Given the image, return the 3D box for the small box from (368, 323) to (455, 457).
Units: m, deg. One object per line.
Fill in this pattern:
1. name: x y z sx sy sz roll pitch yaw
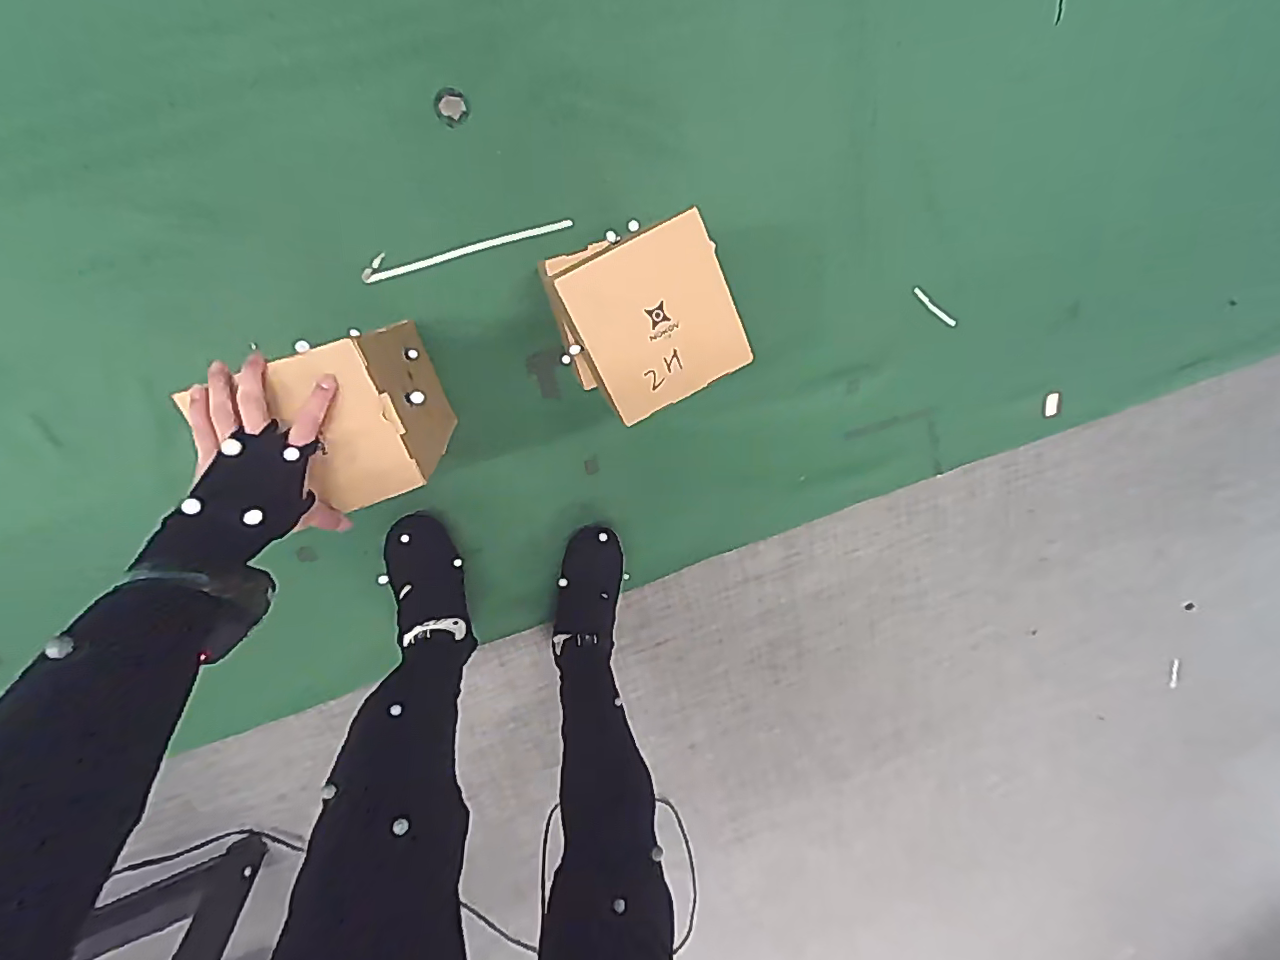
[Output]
1. small box: -0.382 -0.113 0.774 0.168 0.176 0.179 -21 111 -4

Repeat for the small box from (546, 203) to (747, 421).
1. small box: -0.002 -0.198 0.645 0.168 0.176 0.179 -28 114 -1

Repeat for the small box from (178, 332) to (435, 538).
1. small box: -0.352 -0.064 0.621 0.179 0.176 0.168 -20 111 -5
